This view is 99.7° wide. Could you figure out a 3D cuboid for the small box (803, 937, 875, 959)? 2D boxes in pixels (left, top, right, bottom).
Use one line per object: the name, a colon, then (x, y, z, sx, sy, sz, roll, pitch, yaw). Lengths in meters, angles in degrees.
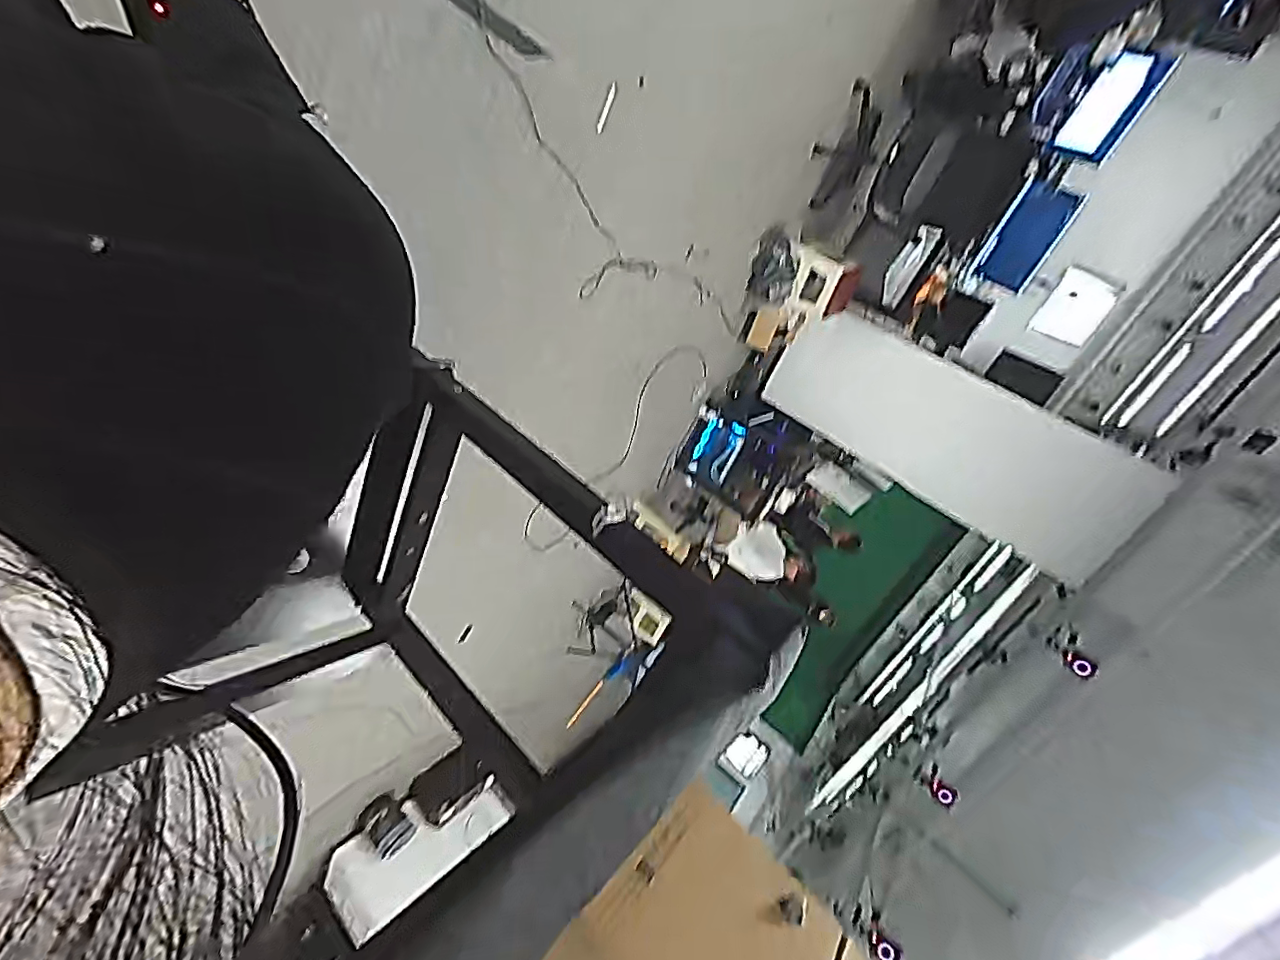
small box: (0.150, 0.483, 0.378, 0.168, 0.176, 0.179, -13, 137, -56)
